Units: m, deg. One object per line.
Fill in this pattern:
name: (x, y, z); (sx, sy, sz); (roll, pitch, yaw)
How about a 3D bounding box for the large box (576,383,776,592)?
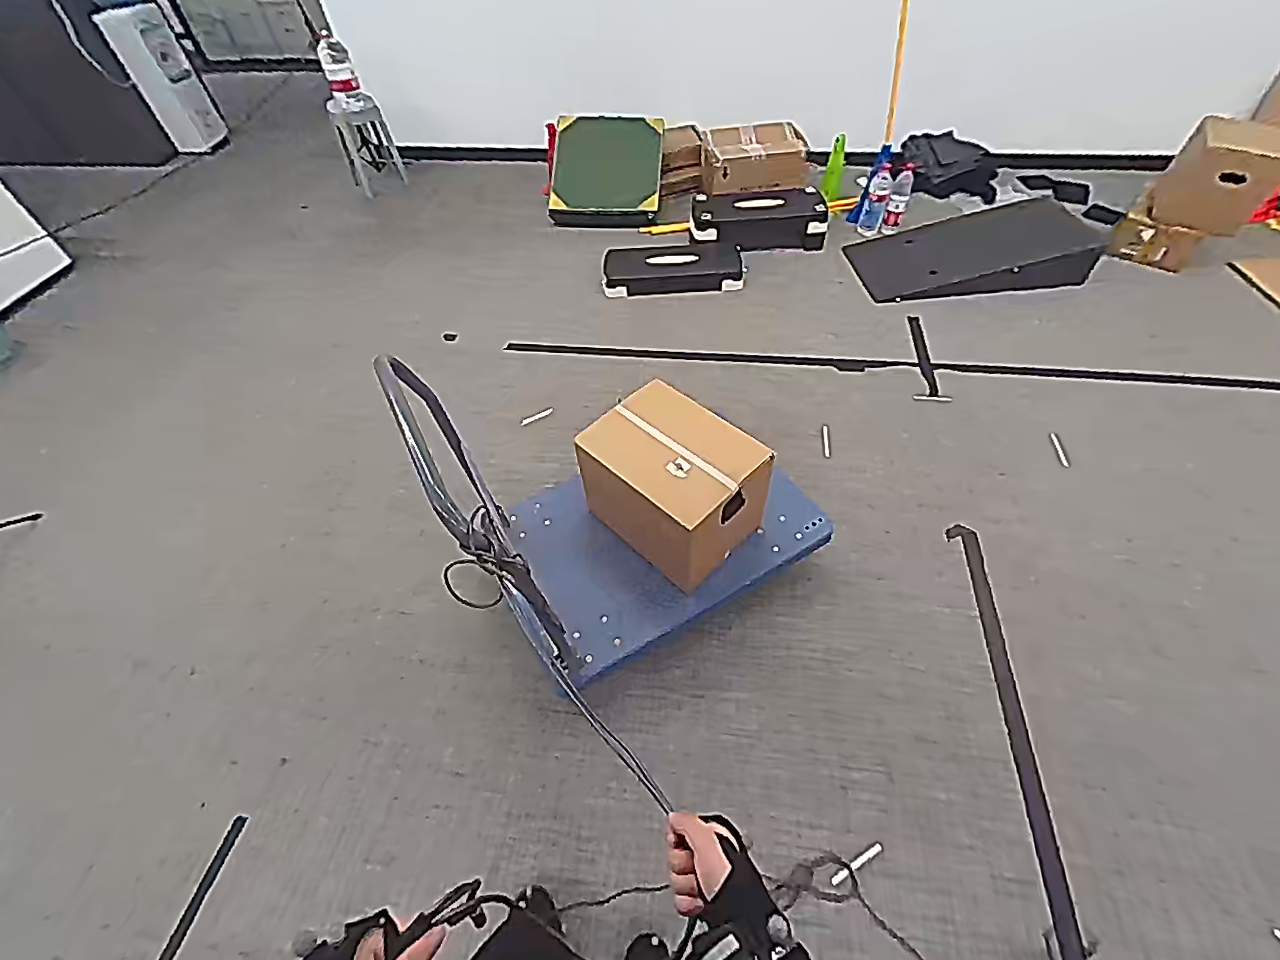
large box: (0.087, 0.016, 1.442); (0.408, 0.320, 0.320); (37, 63, 27)
